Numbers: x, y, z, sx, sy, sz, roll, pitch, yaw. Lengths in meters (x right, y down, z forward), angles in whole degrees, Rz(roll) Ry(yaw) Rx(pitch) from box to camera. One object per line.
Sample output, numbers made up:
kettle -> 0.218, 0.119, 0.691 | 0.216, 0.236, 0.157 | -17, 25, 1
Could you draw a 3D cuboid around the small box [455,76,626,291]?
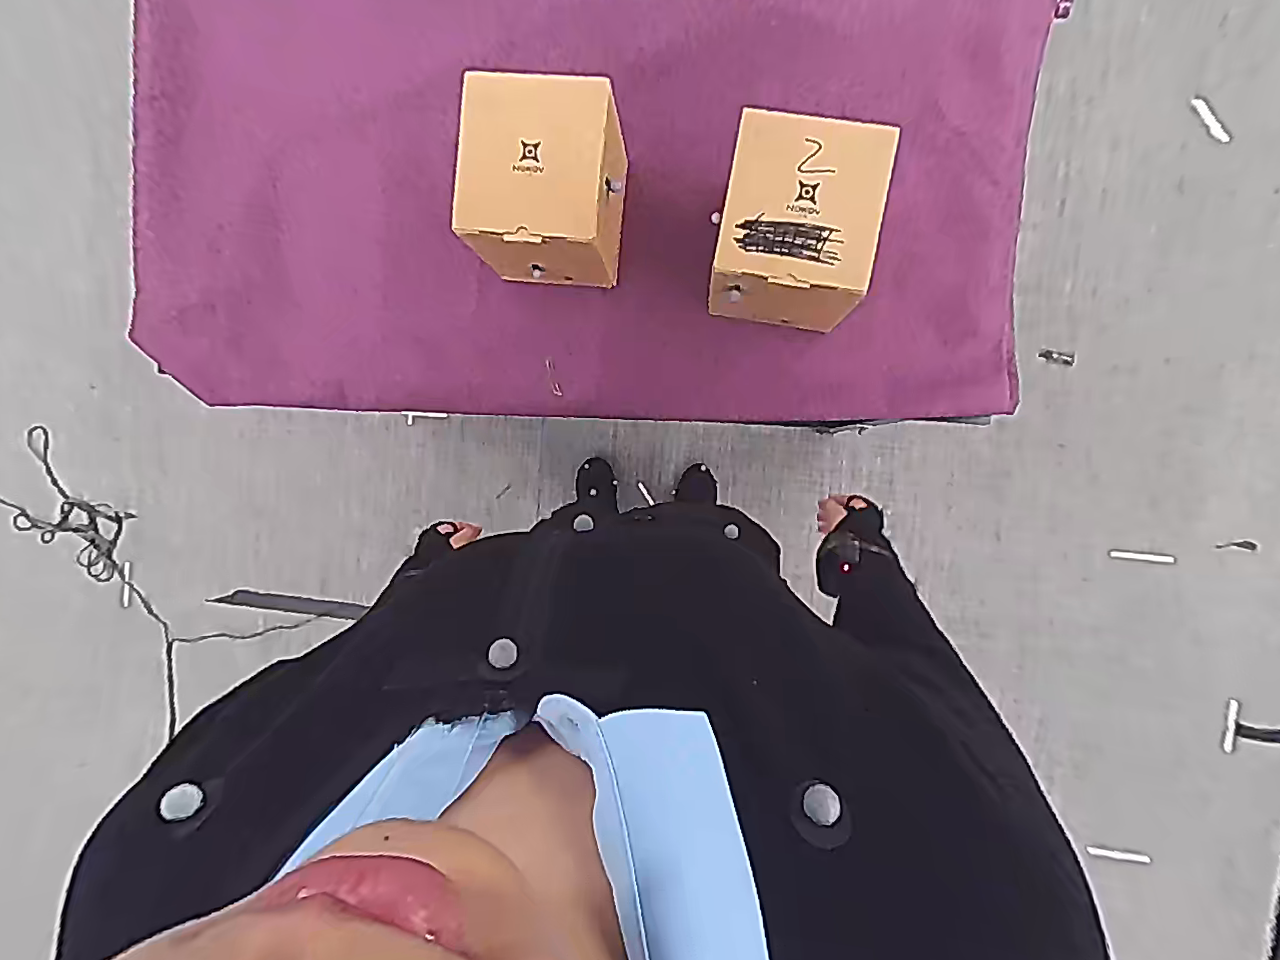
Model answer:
small box -> -0.112, -0.356, 0.677 | 0.168, 0.176, 0.179 | 6, 93, 5
